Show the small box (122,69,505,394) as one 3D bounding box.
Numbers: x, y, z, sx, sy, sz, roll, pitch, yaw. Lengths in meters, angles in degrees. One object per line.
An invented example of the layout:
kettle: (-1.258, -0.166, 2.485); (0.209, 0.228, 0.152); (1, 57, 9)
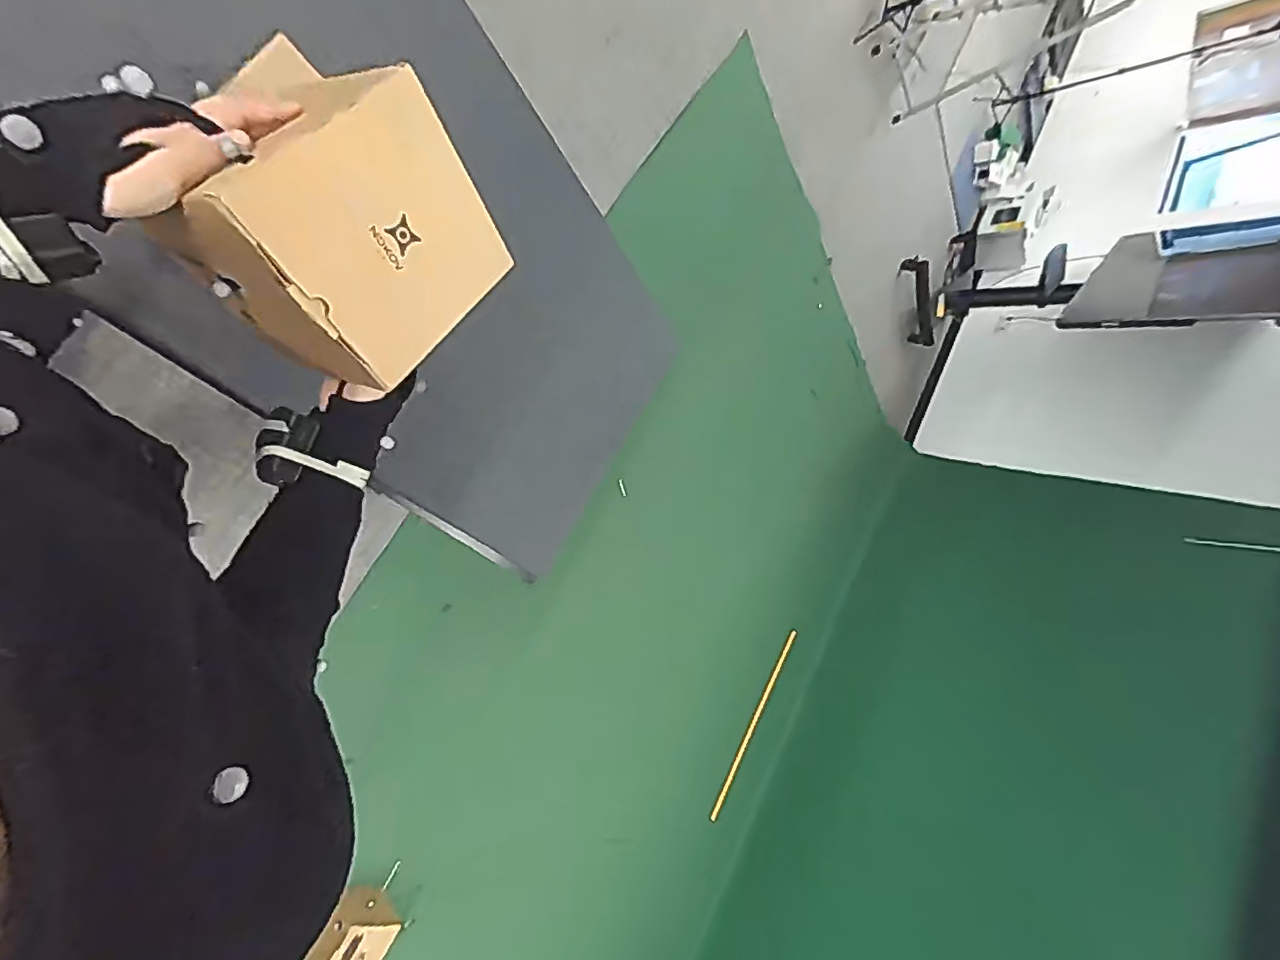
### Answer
small box: (-0.253, -0.202, 0.443); (0.179, 0.176, 0.168); (-57, 148, -24)

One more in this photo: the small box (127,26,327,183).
small box: (-0.378, -0.302, 0.557); (0.168, 0.176, 0.179); (46, 67, -43)
